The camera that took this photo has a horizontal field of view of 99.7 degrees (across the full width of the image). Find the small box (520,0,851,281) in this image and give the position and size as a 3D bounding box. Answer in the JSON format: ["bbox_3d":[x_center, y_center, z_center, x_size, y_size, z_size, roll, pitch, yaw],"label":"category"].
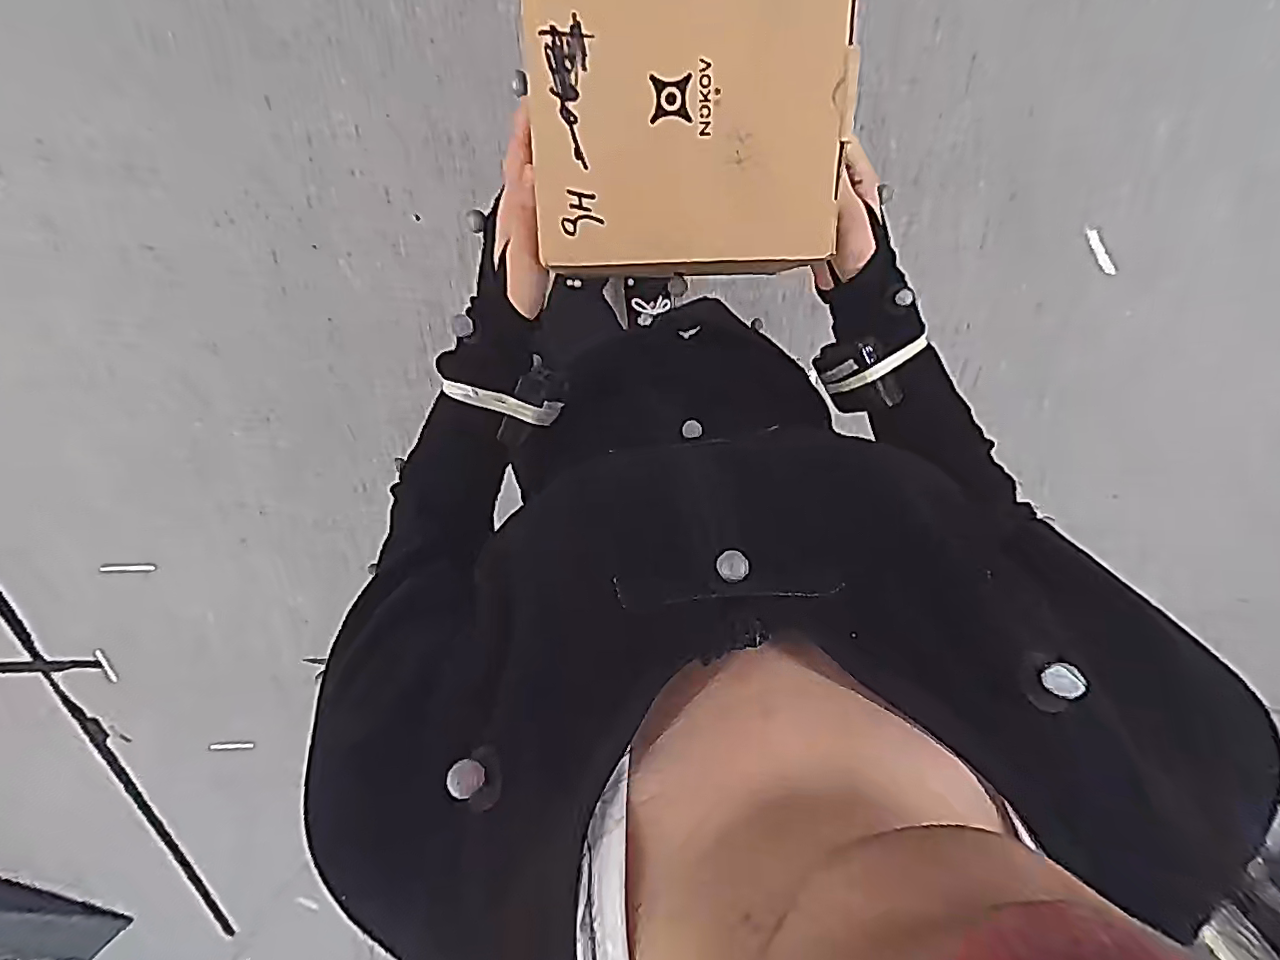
[{"bbox_3d":[0.024,-0.230,0.371,0.179,0.176,0.168,-1,107,0],"label":"small box"}]
